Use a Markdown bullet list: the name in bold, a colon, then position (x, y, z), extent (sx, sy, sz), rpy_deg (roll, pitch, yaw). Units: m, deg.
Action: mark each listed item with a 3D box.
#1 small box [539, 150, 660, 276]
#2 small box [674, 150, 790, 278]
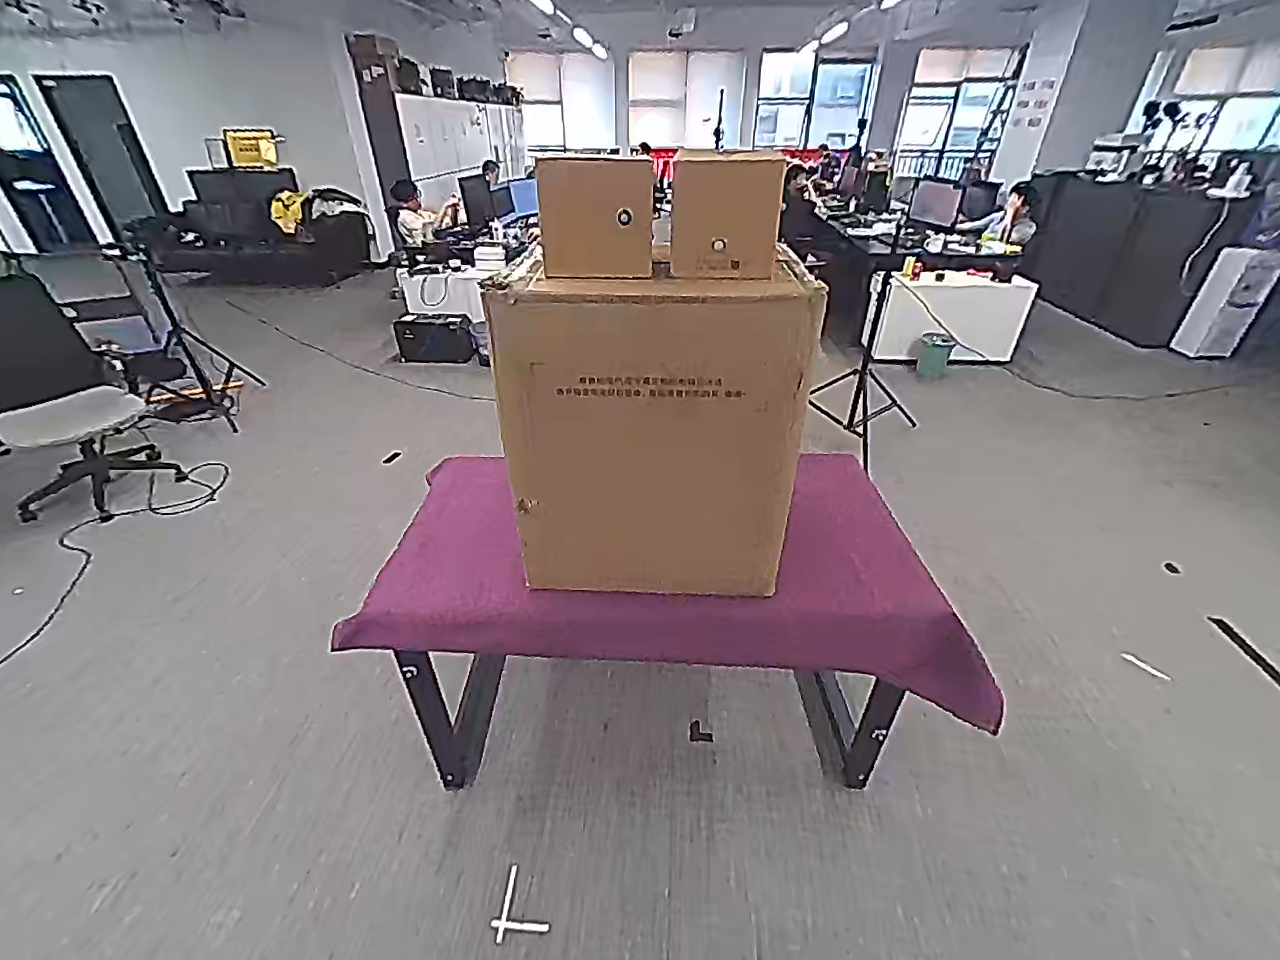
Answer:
- **small box**: position (-0.064, -0.438, 0.887), extent (0.179, 0.176, 0.168), rpy_deg (-1, 32, -3)
- **small box**: position (0.145, -0.441, 0.889), extent (0.168, 0.176, 0.179), rpy_deg (3, 34, 7)
